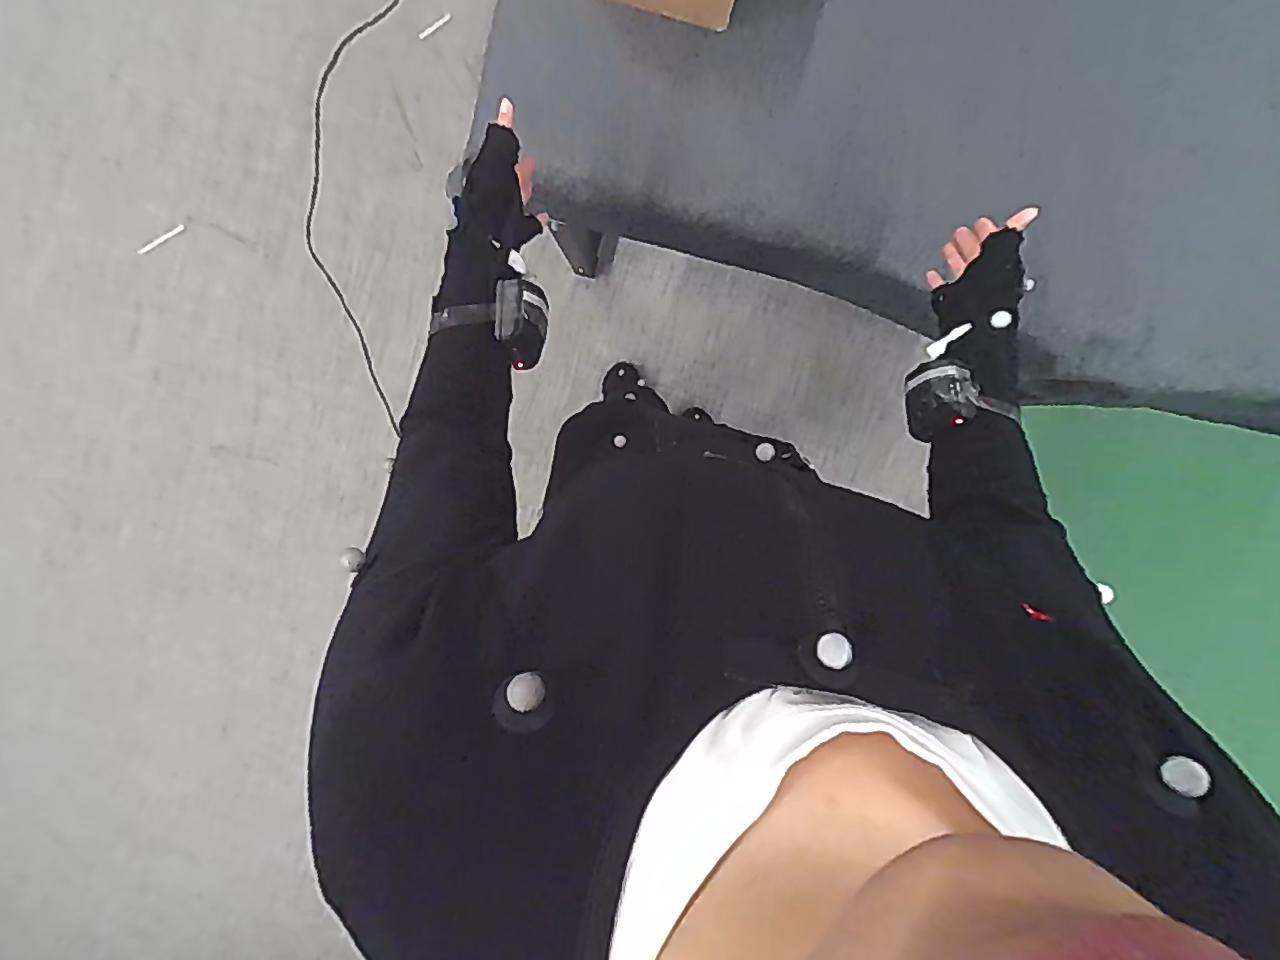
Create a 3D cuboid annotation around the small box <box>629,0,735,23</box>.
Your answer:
[{"bbox_3d":[0.041,-0.630,0.560,0.179,0.176,0.168,15,98,-2],"label":"small box"}]
